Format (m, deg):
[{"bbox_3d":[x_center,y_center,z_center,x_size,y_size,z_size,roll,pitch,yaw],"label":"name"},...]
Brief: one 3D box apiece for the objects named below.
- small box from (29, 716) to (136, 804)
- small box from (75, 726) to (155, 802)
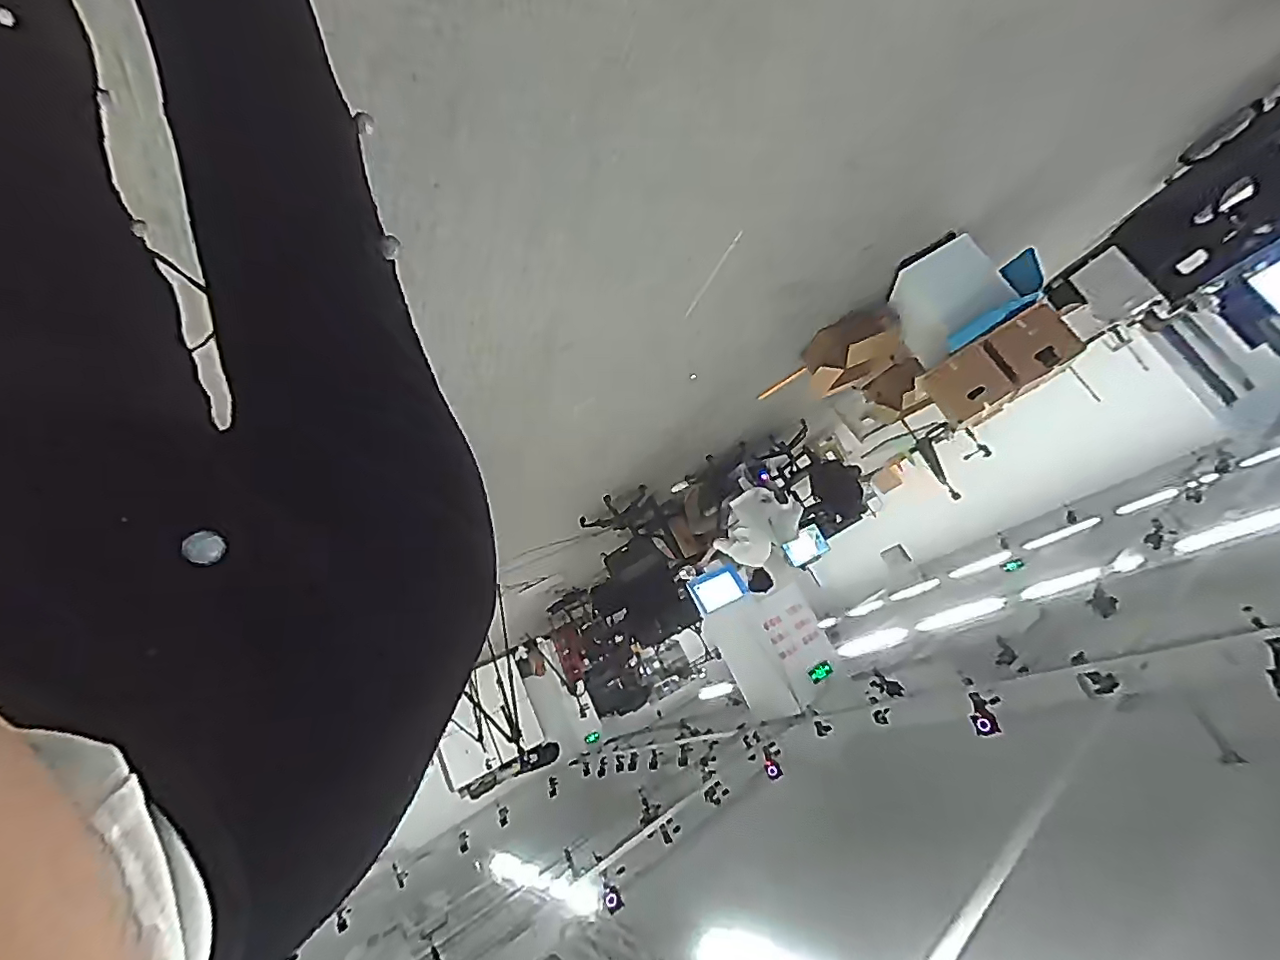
[{"bbox_3d":[-1.608,0.805,1.566,0.168,0.176,0.179,-19,164,-35],"label":"small box"},{"bbox_3d":[-1.753,0.941,1.798,0.168,0.176,0.179,-17,163,-36],"label":"small box"}]
